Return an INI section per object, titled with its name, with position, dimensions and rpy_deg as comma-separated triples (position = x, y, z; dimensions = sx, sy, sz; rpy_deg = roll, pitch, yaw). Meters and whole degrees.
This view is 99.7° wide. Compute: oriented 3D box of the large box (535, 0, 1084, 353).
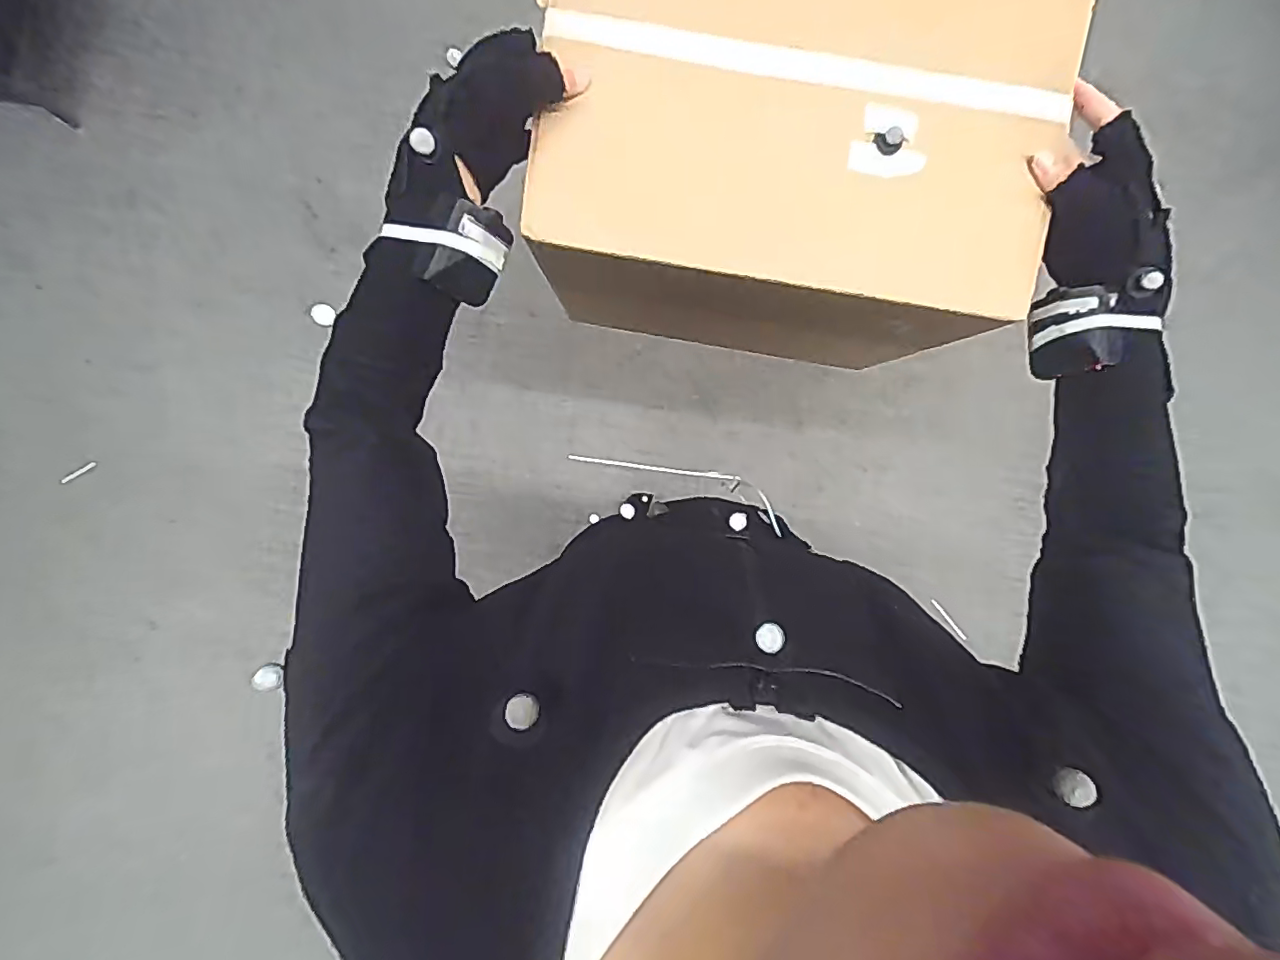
[large box]
position = 0.128, -0.335, 0.563
dimensions = 0.408, 0.320, 0.320
rpy_deg = 9, 95, -2
